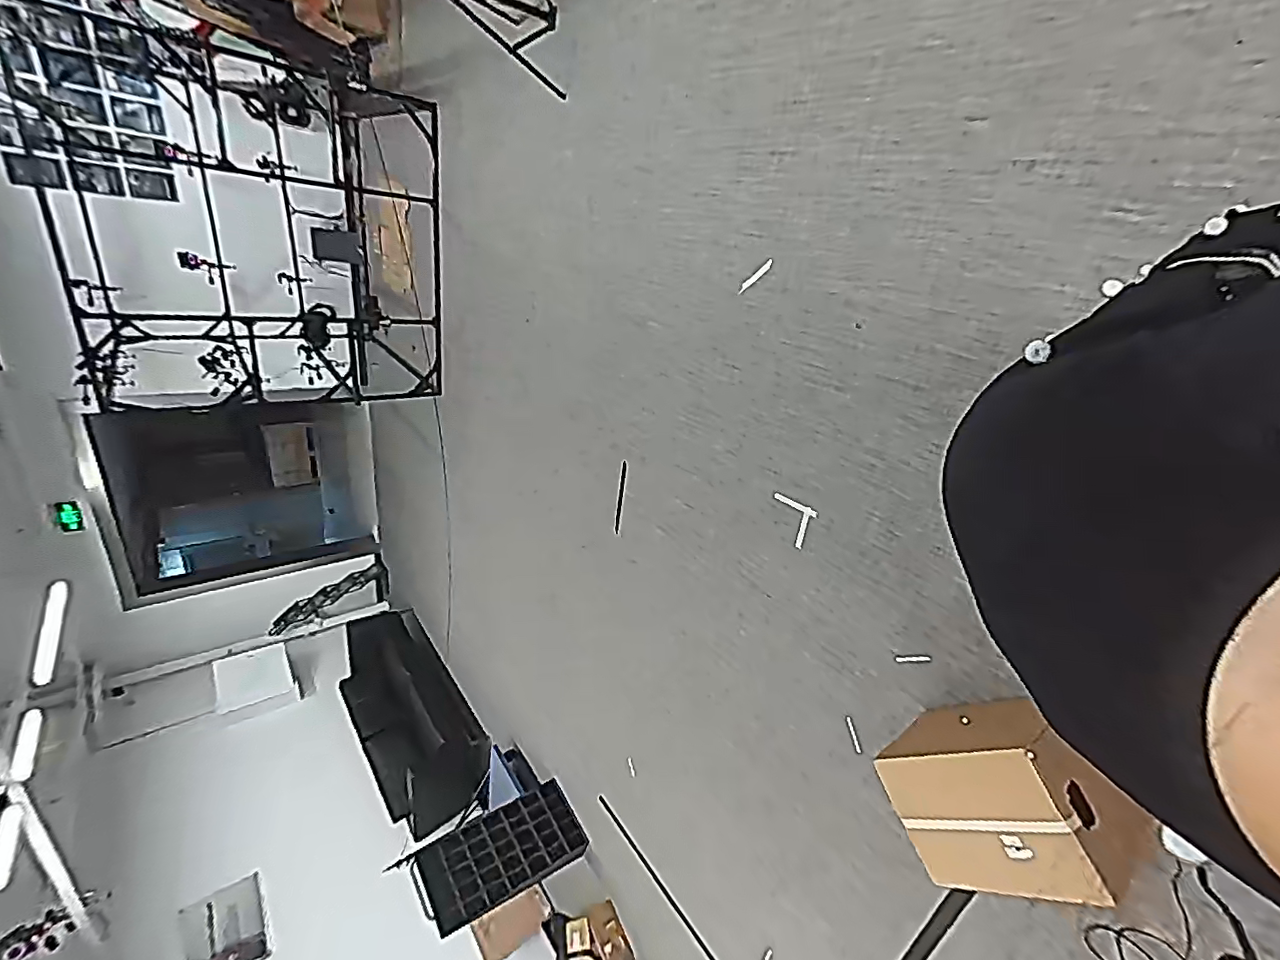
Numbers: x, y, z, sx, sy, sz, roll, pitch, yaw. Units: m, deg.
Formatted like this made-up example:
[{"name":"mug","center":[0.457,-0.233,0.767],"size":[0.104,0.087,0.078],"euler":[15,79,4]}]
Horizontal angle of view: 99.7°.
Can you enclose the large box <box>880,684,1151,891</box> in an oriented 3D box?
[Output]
[{"name":"large box","center":[0.902,0.739,1.330],"size":[0.408,0.320,0.320],"euler":[-43,67,48]}]
